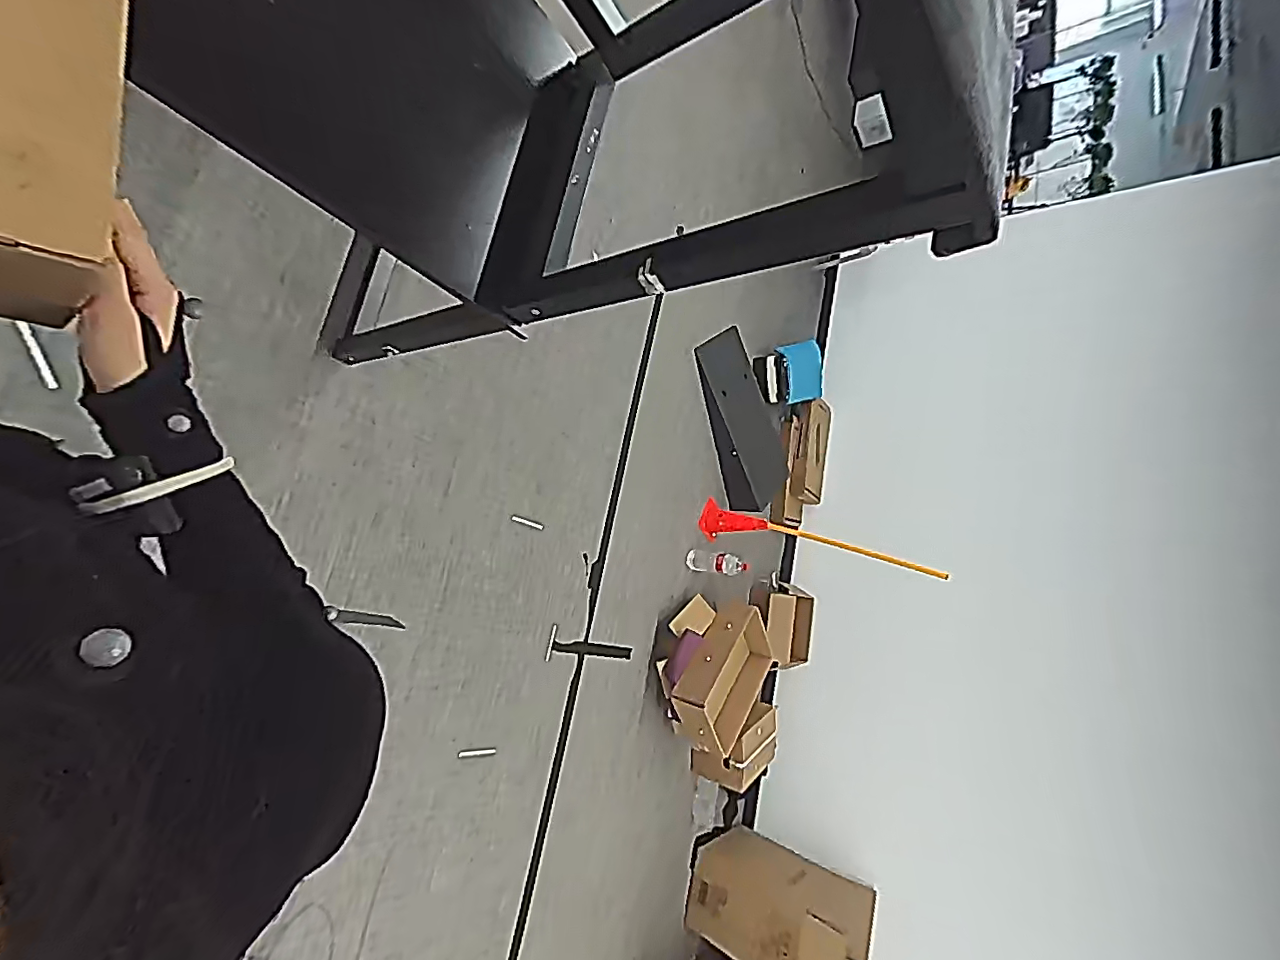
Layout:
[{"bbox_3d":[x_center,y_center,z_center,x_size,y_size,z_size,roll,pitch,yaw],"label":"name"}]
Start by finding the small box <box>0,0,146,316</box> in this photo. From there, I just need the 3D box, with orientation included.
[{"bbox_3d":[-0.369,-0.193,0.260,0.168,0.176,0.179,5,87,-53],"label":"small box"}]
